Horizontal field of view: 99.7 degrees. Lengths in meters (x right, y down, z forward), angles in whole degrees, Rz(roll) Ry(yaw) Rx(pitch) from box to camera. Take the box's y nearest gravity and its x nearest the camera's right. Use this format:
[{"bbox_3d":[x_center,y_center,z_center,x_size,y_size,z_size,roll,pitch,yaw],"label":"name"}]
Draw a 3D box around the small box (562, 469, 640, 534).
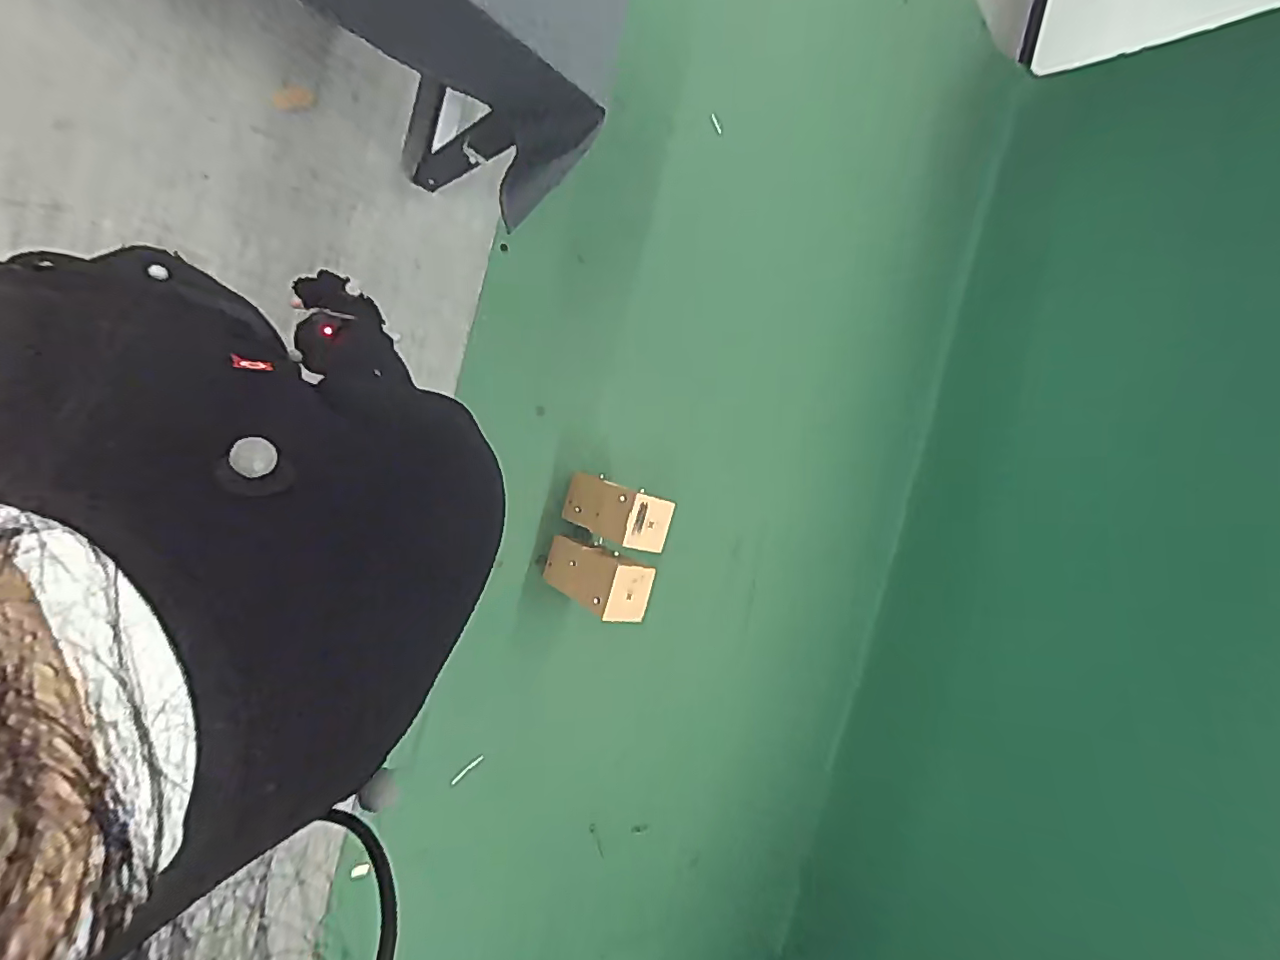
[{"bbox_3d":[-0.136,0.069,1.829,0.179,0.176,0.168,20,88,-42],"label":"small box"}]
